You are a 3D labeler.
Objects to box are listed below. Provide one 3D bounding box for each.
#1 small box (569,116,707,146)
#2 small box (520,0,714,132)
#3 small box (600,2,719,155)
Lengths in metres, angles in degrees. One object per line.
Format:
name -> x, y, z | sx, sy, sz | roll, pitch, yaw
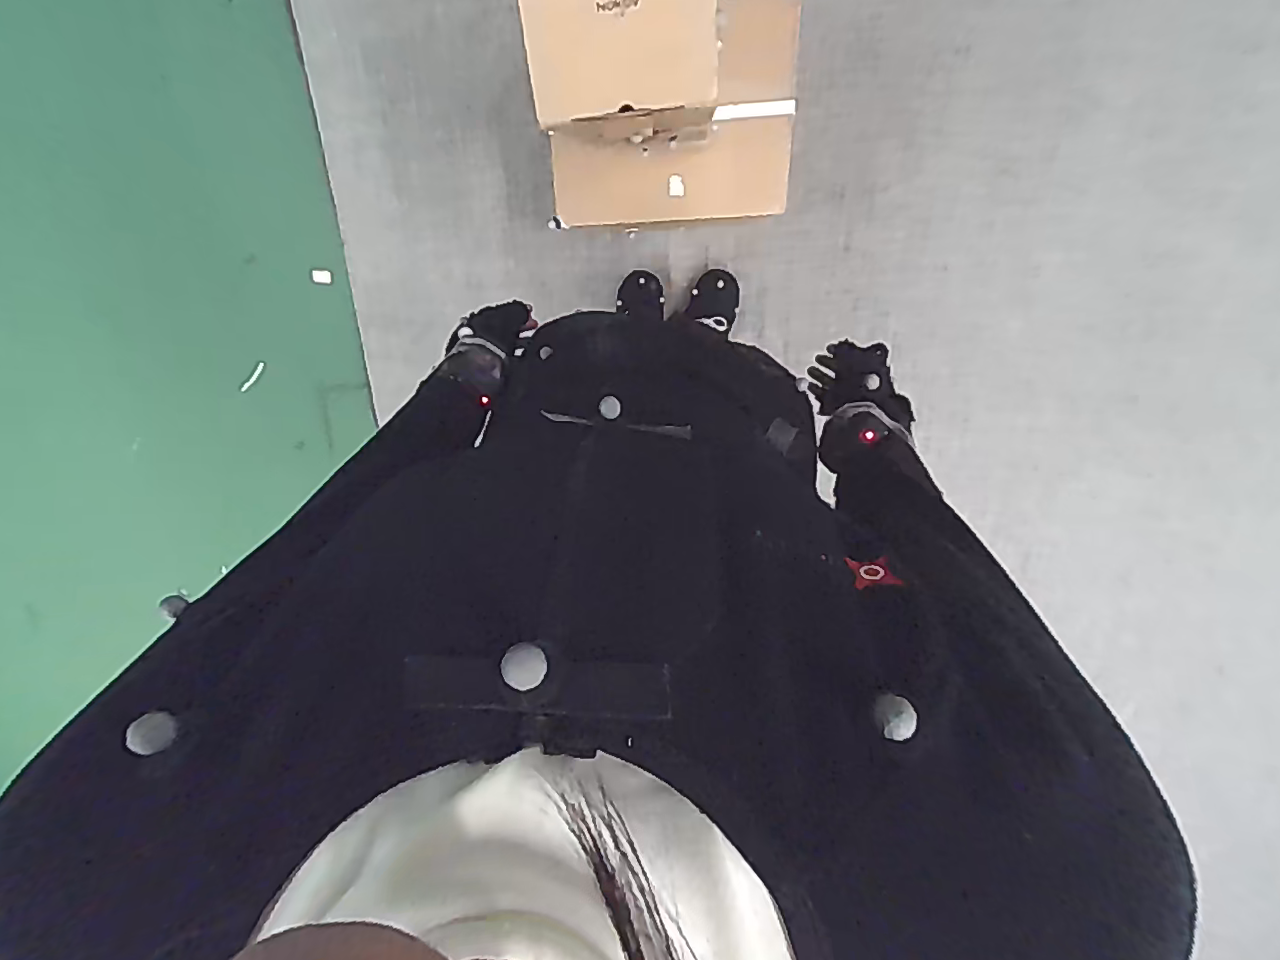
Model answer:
small box -> 0.000, -0.518, 0.662 | 0.168, 0.176, 0.179 | -1, 117, 6
small box -> -0.013, -0.443, 0.517 | 0.168, 0.176, 0.179 | -2, 119, 7
small box -> 0.018, -0.589, 0.804 | 0.179, 0.176, 0.168 | 7, 117, 3
